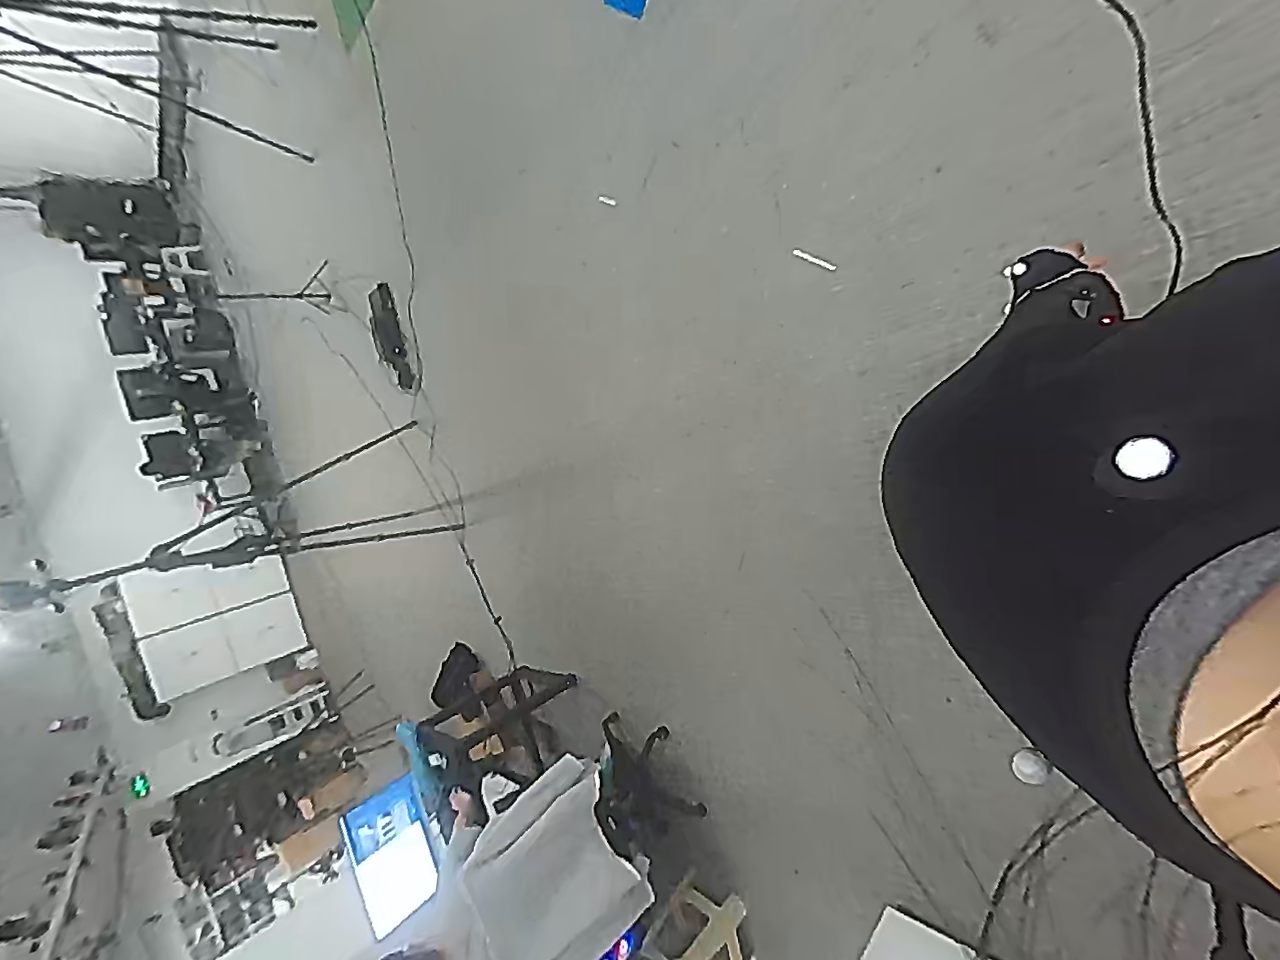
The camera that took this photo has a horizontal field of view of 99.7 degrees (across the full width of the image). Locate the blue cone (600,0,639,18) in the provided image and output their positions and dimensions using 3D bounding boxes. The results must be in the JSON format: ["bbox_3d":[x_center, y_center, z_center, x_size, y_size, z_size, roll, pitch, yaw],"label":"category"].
[{"bbox_3d":[-0.164,-1.540,1.588,0.192,0.380,0.193,43,132,25],"label":"blue cone"}]
